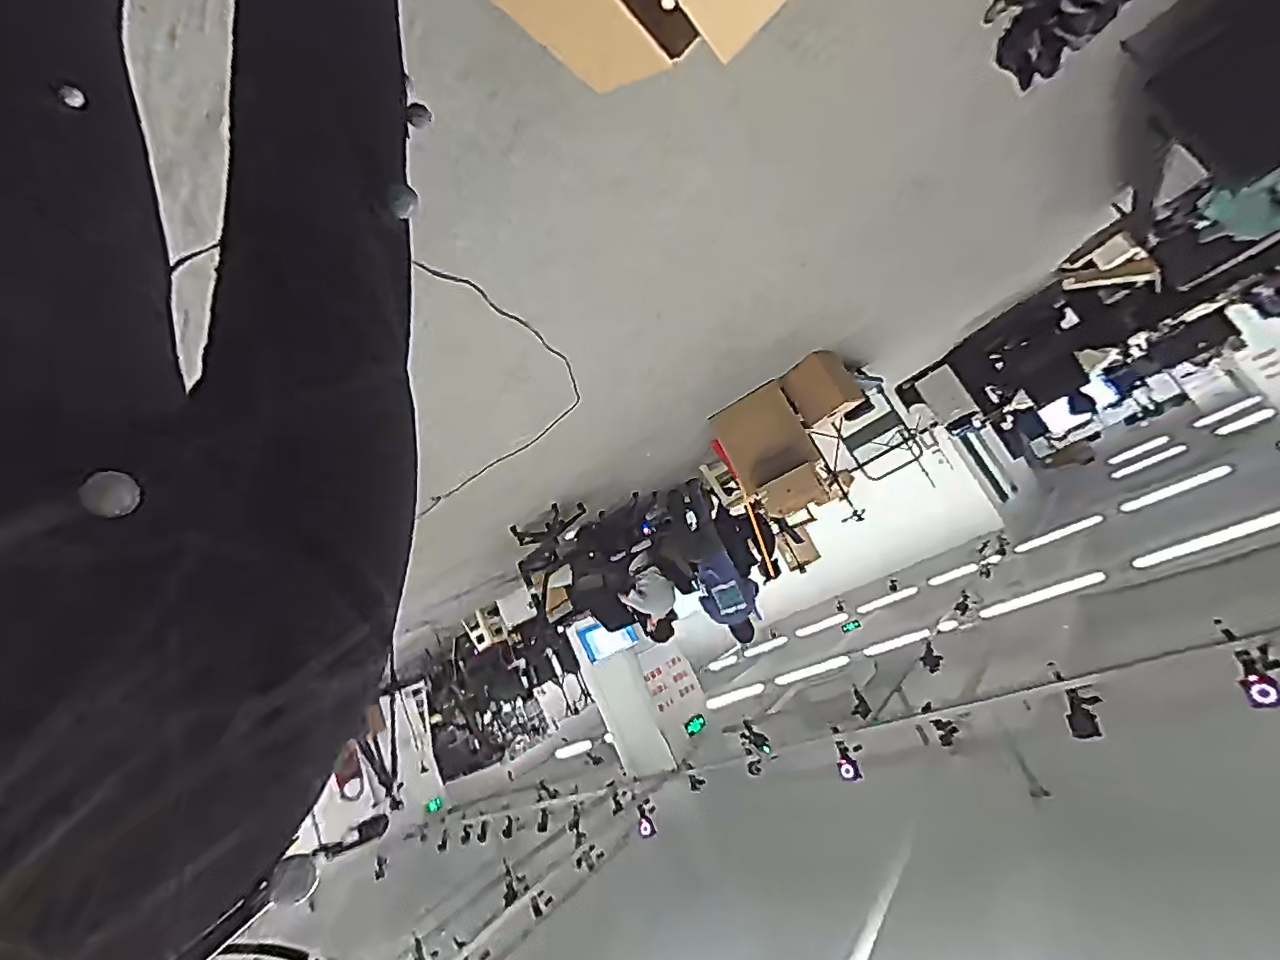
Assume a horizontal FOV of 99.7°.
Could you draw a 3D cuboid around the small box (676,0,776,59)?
[{"bbox_3d":[0.078,-0.643,0.601,0.168,0.176,0.179,-35,163,31],"label":"small box"}]
